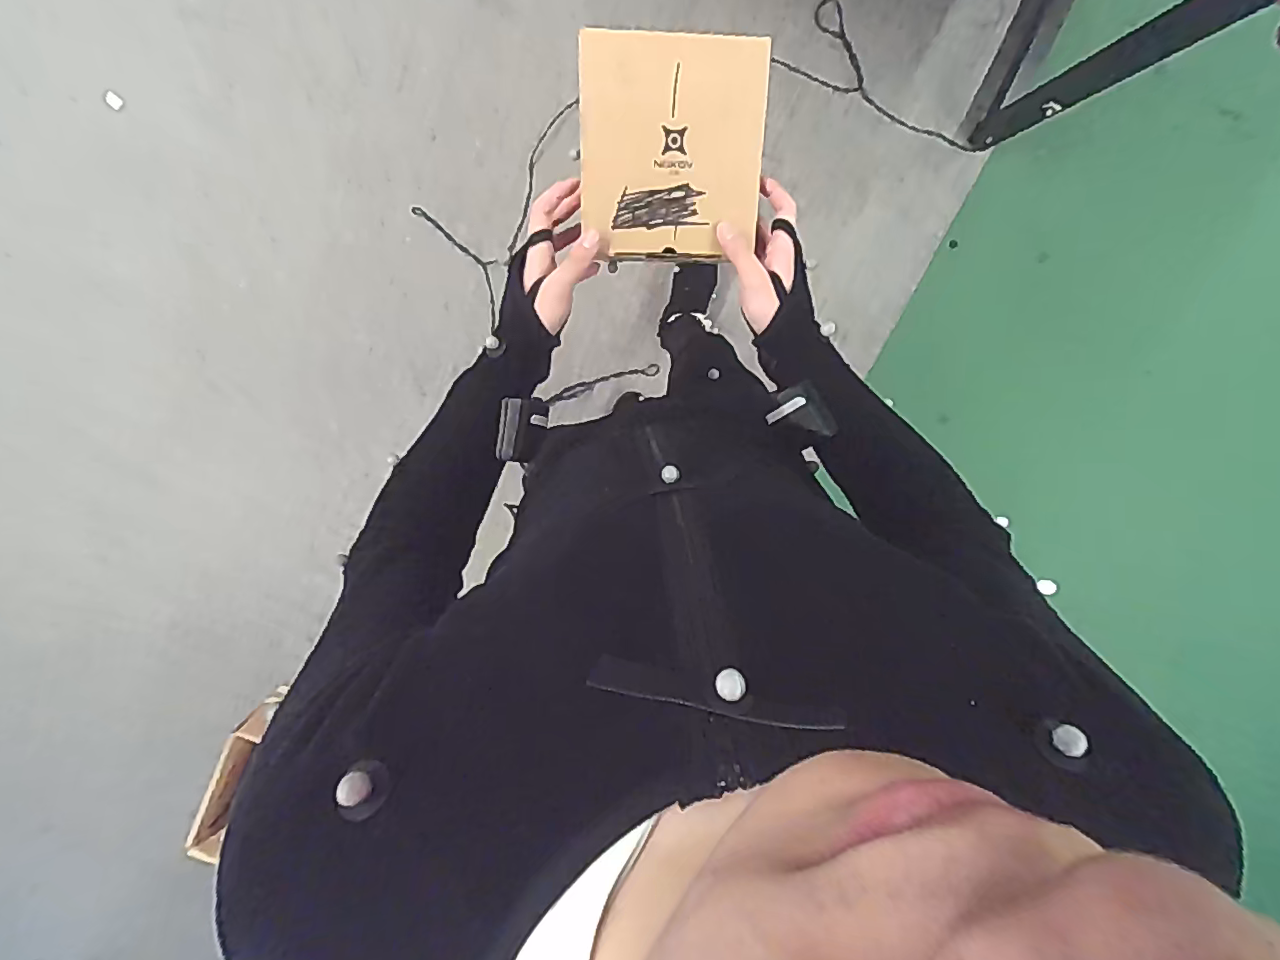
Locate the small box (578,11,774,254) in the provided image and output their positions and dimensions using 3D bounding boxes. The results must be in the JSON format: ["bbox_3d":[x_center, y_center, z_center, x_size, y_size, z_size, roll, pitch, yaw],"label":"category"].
[{"bbox_3d":[0.024,-0.328,0.549,0.168,0.176,0.179,0,110,-4],"label":"small box"}]

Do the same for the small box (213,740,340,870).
[{"bbox_3d":[-0.865,0.776,1.304,0.168,0.176,0.179,29,102,-8],"label":"small box"}]
